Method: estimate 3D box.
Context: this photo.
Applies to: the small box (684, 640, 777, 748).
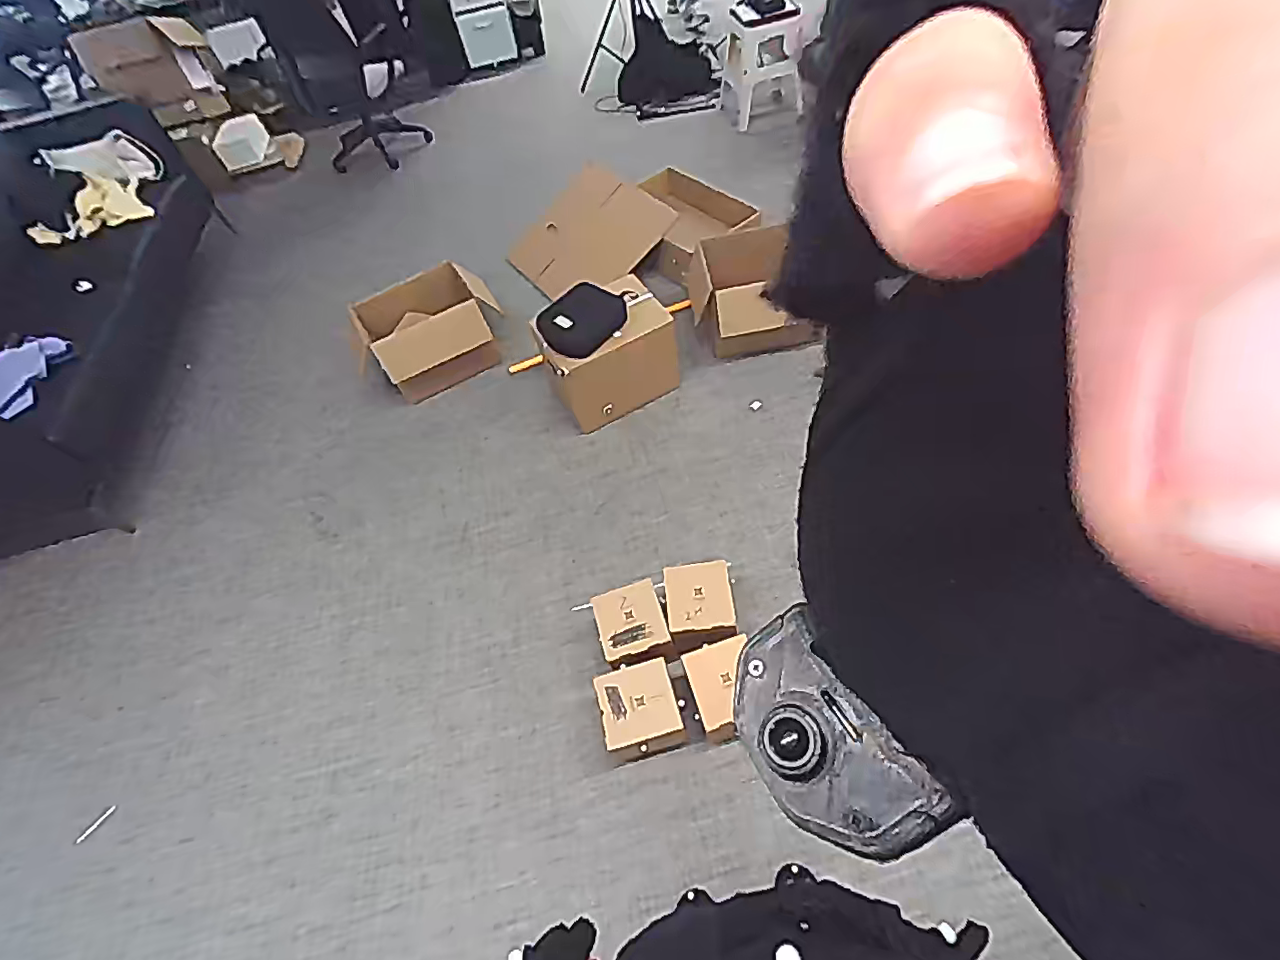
[{"bbox_3d":[0.211,0.514,1.290,0.168,0.176,0.179,-19,55,-3],"label":"small box"}]
